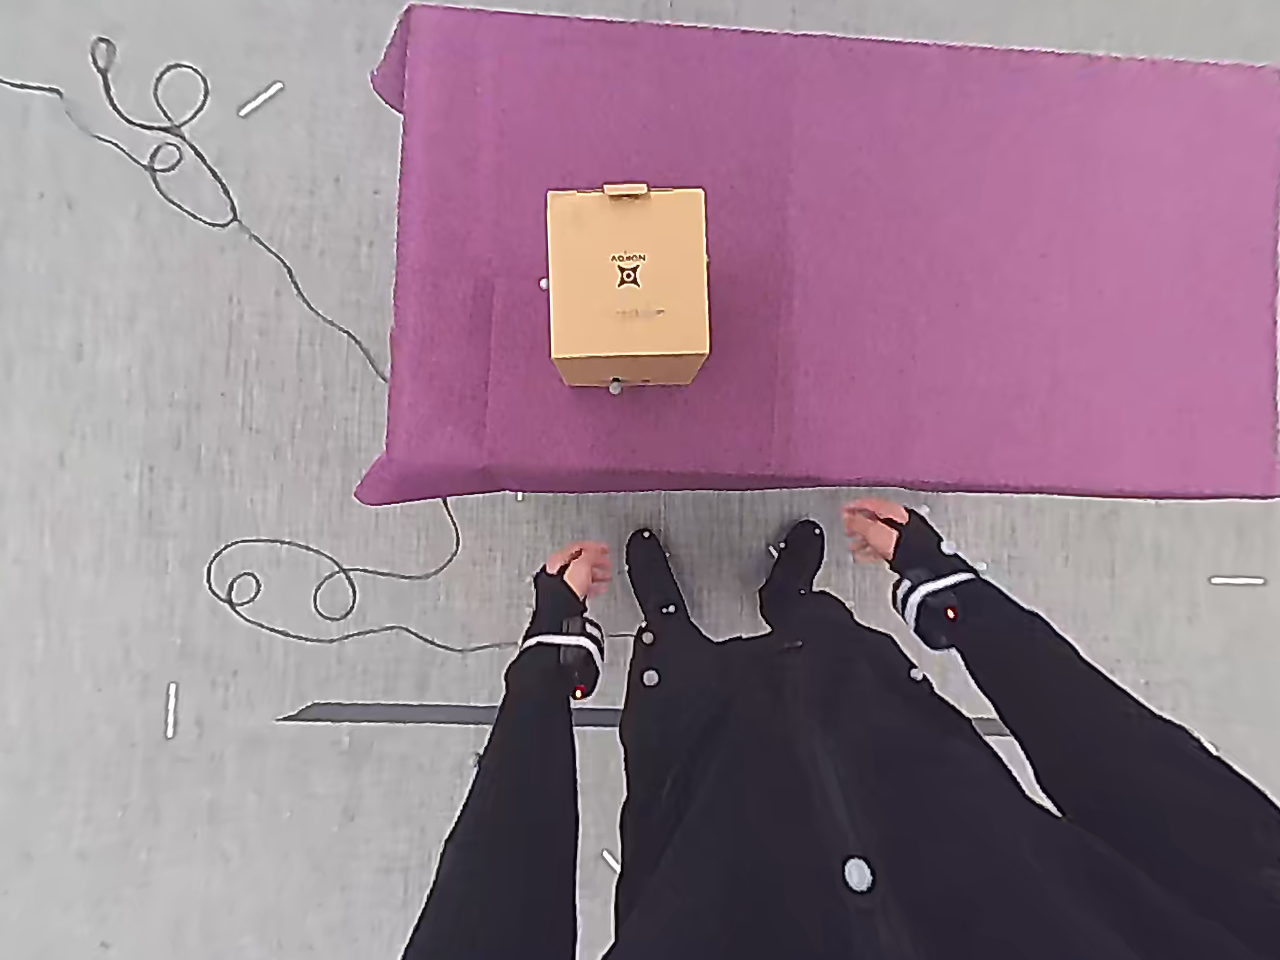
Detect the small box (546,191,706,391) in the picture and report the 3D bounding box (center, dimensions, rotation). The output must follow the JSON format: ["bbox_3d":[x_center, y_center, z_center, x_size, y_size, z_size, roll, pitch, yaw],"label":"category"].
[{"bbox_3d":[-0.018,-0.207,0.632,0.168,0.176,0.179,-1,89,-2],"label":"small box"}]
